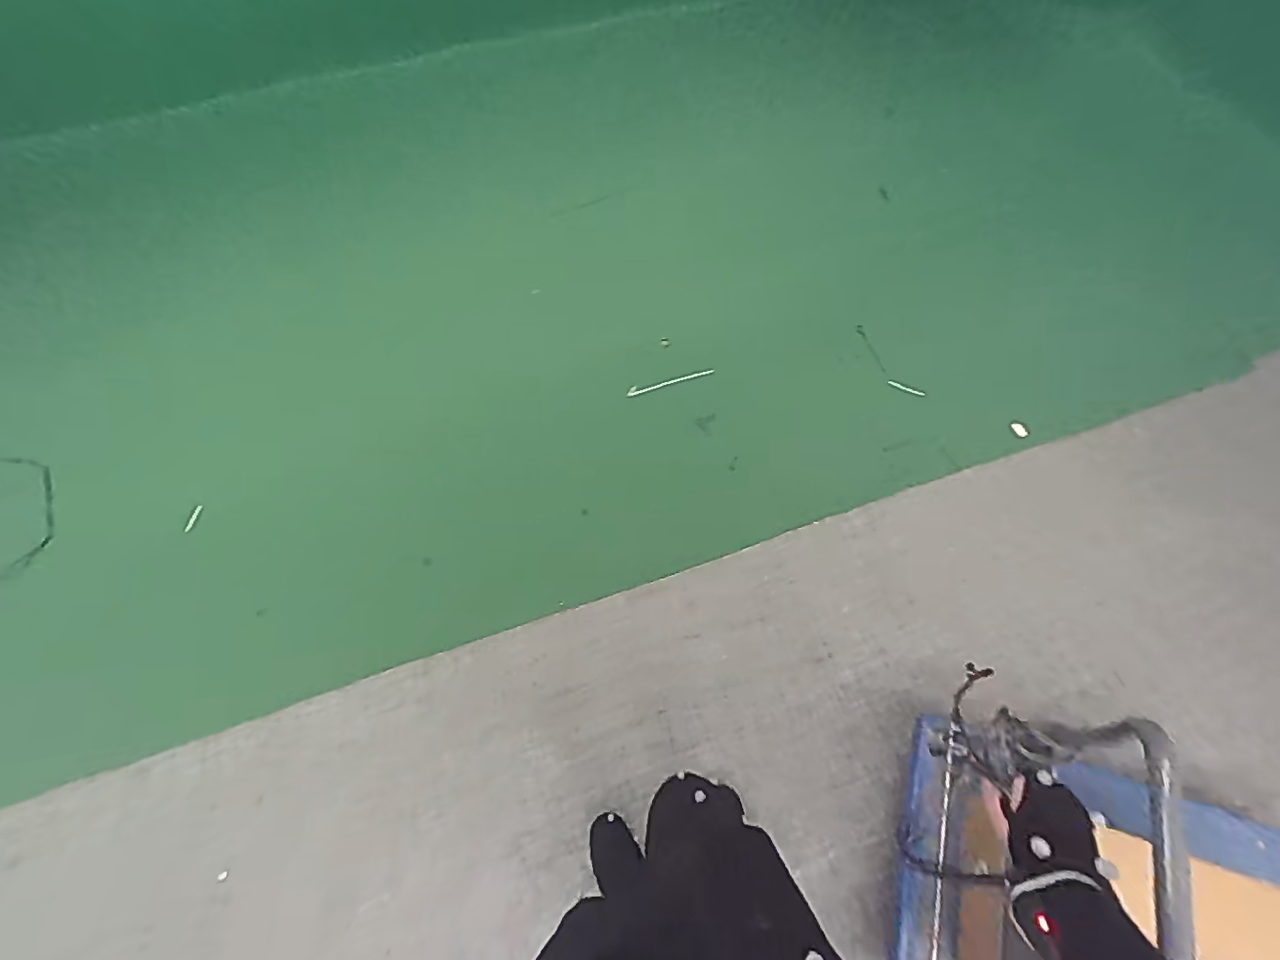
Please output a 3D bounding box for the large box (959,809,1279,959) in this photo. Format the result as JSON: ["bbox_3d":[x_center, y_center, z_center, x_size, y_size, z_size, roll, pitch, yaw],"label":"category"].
[{"bbox_3d":[0.837,0.817,0.936,0.408,0.320,0.320,16,66,9],"label":"large box"}]
